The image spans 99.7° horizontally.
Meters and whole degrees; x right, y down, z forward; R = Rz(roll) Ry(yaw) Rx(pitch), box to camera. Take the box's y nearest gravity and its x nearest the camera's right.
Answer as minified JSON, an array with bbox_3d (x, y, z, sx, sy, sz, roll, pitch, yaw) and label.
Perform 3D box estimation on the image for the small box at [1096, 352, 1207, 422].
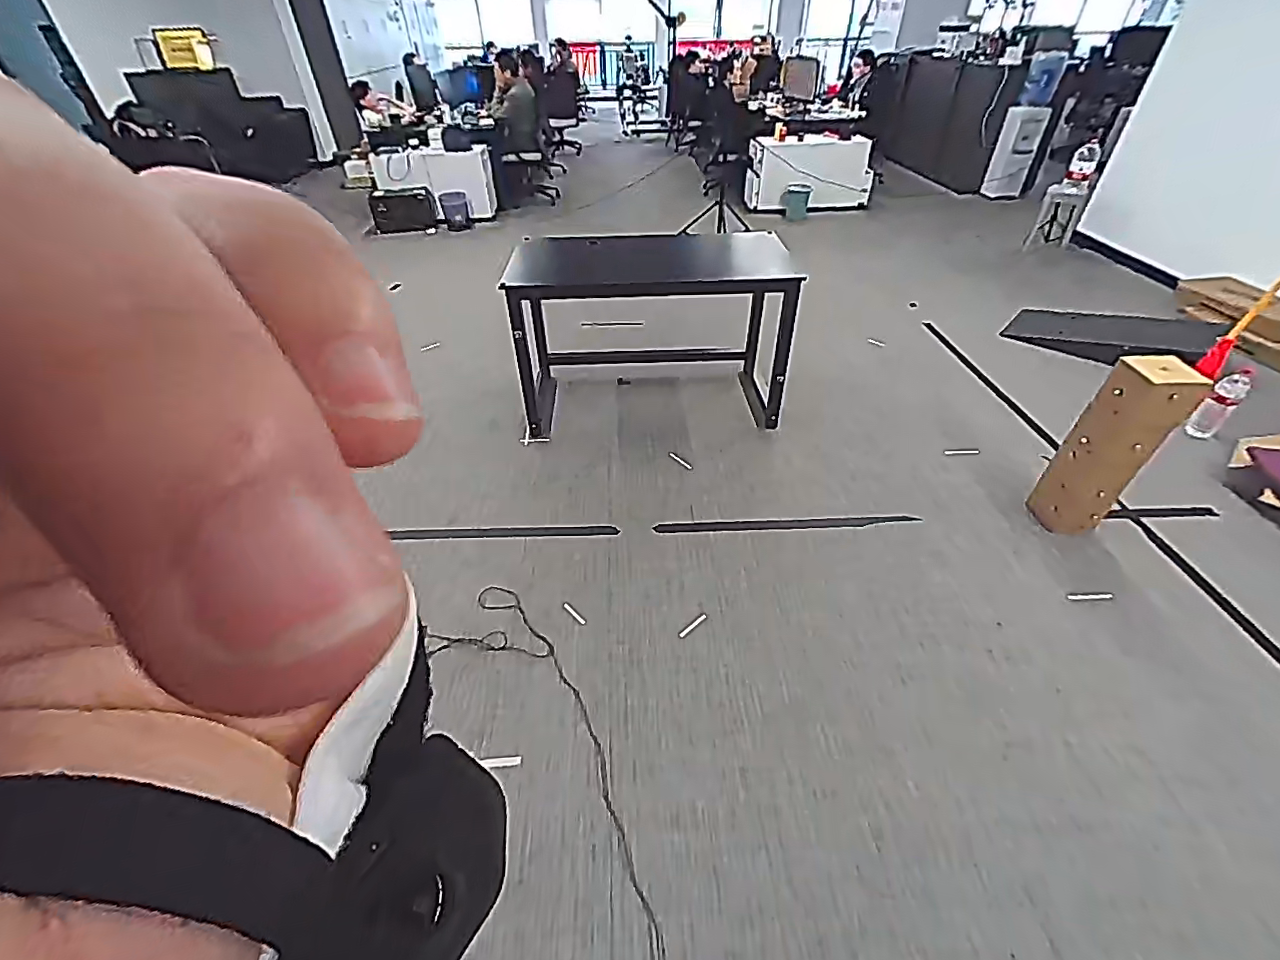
[{"bbox_3d":[1.624,-0.296,1.737,0.179,0.176,0.168,-1,41,1],"label":"small box"}]

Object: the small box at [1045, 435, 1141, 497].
[{"bbox_3d":[1.631,-0.053,1.959,0.179,0.176,0.168,-3,41,-3],"label":"small box"}]

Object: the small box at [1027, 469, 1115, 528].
[{"bbox_3d":[1.637,0.070,2.067,0.168,0.176,0.179,-3,39,-1],"label":"small box"}]

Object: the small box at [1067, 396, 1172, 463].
[{"bbox_3d":[1.627,-0.174,1.848,0.179,0.176,0.168,-4,41,-2],"label":"small box"}]
